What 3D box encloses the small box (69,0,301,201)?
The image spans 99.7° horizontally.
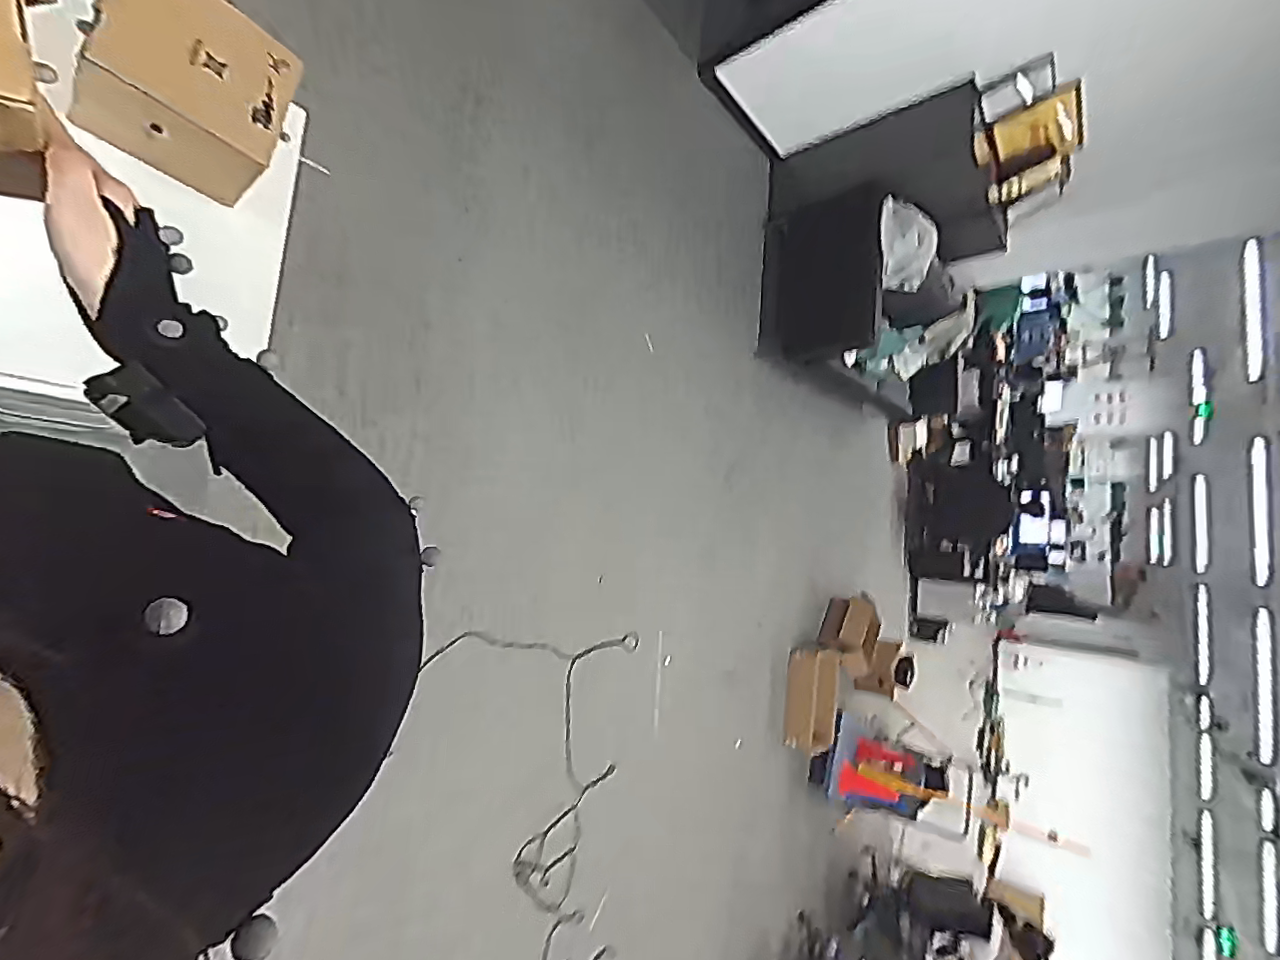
[{"bbox_3d":[-0.574,-0.493,0.685,0.179,0.176,0.168,23,73,-47],"label":"small box"}]

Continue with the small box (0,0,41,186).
[{"bbox_3d":[-0.439,-0.271,0.266,0.179,0.176,0.168,-11,101,-47],"label":"small box"}]
